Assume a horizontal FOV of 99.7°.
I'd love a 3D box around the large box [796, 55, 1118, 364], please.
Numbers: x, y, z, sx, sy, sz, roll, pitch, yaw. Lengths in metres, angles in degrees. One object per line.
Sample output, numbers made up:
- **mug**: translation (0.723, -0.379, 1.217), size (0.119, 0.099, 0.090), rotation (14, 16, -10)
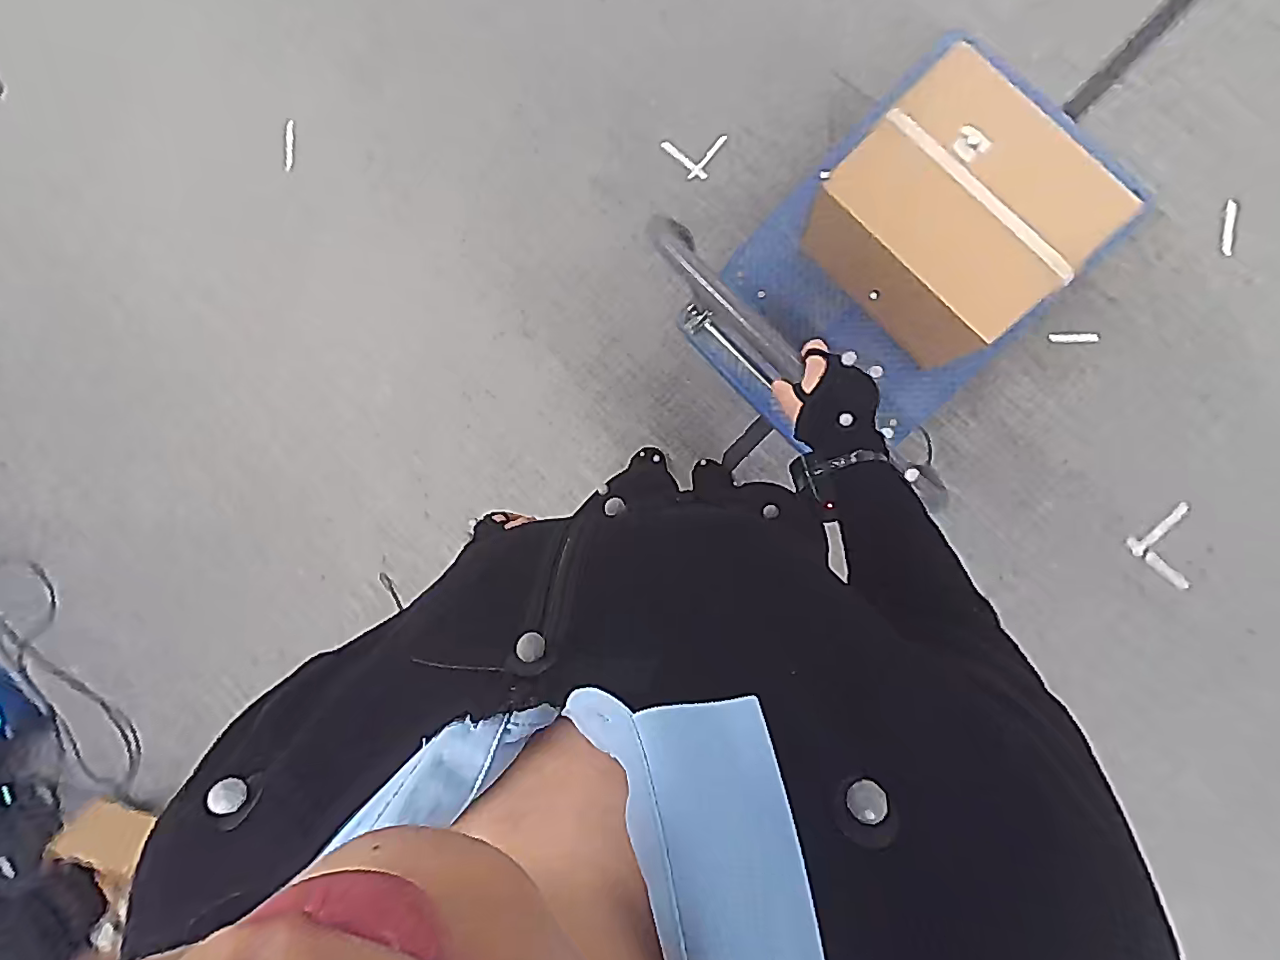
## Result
- **large box**: translation (0.577, -0.495, 1.080), size (0.320, 0.320, 0.408), rotation (-45, 85, 8)
